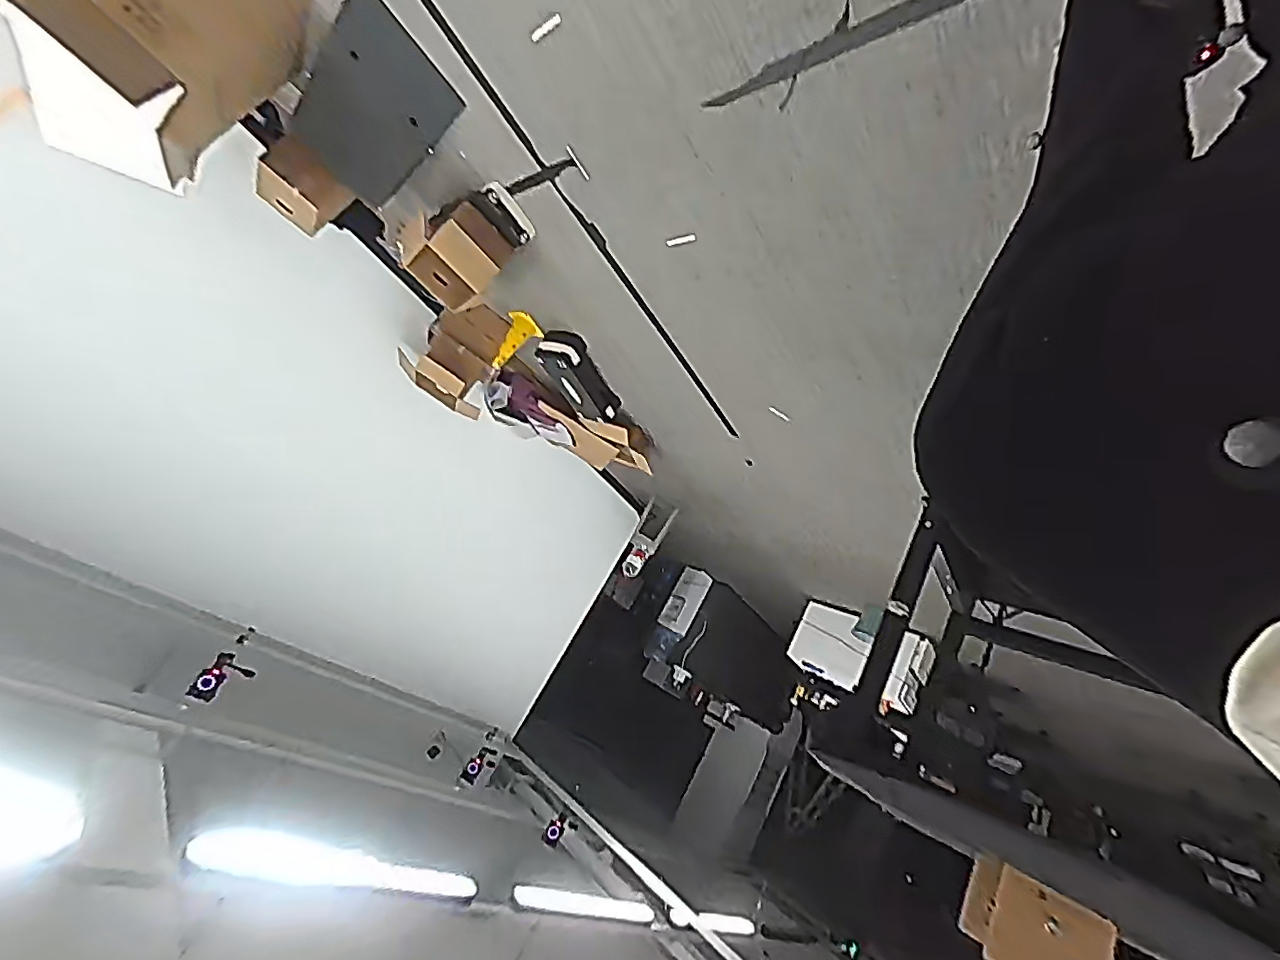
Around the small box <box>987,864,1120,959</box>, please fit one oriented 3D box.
[{"bbox_3d":[0.775,0.859,1.015,0.168,0.176,0.179,13,156,43],"label":"small box"}]

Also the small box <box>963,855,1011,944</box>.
[{"bbox_3d":[0.847,0.969,1.199,0.168,0.176,0.179,12,154,48],"label":"small box"}]
